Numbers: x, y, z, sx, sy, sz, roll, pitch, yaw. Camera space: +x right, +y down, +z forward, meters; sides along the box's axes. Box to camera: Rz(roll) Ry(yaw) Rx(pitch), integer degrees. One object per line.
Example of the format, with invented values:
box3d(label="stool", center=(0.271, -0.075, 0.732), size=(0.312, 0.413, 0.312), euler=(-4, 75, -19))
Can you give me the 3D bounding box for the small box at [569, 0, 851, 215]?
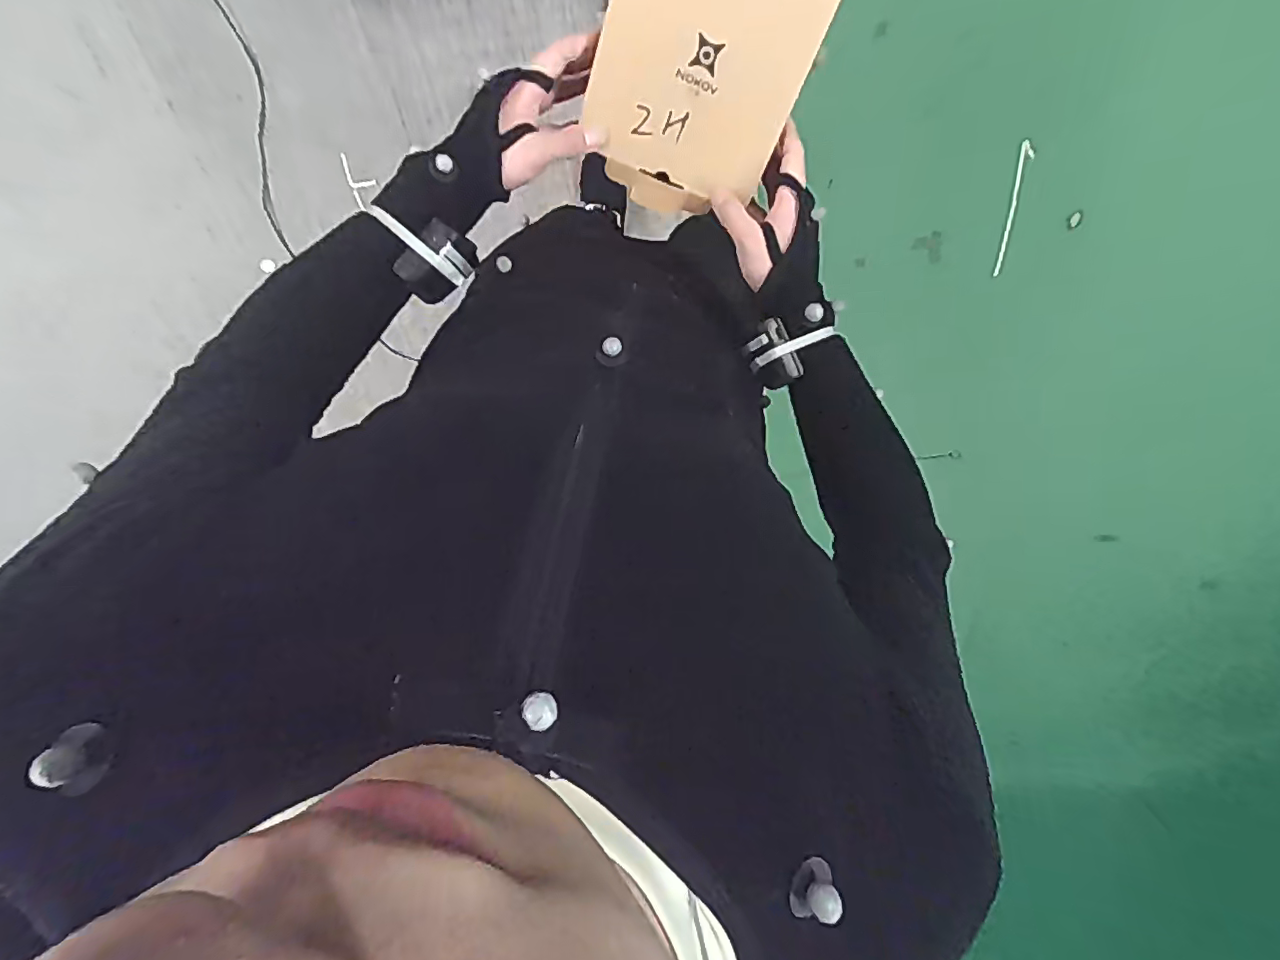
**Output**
box3d(label="small box", center=(0.053, -0.382, 0.489), size=(0.168, 0.176, 0.179), euler=(24, 127, -13))
